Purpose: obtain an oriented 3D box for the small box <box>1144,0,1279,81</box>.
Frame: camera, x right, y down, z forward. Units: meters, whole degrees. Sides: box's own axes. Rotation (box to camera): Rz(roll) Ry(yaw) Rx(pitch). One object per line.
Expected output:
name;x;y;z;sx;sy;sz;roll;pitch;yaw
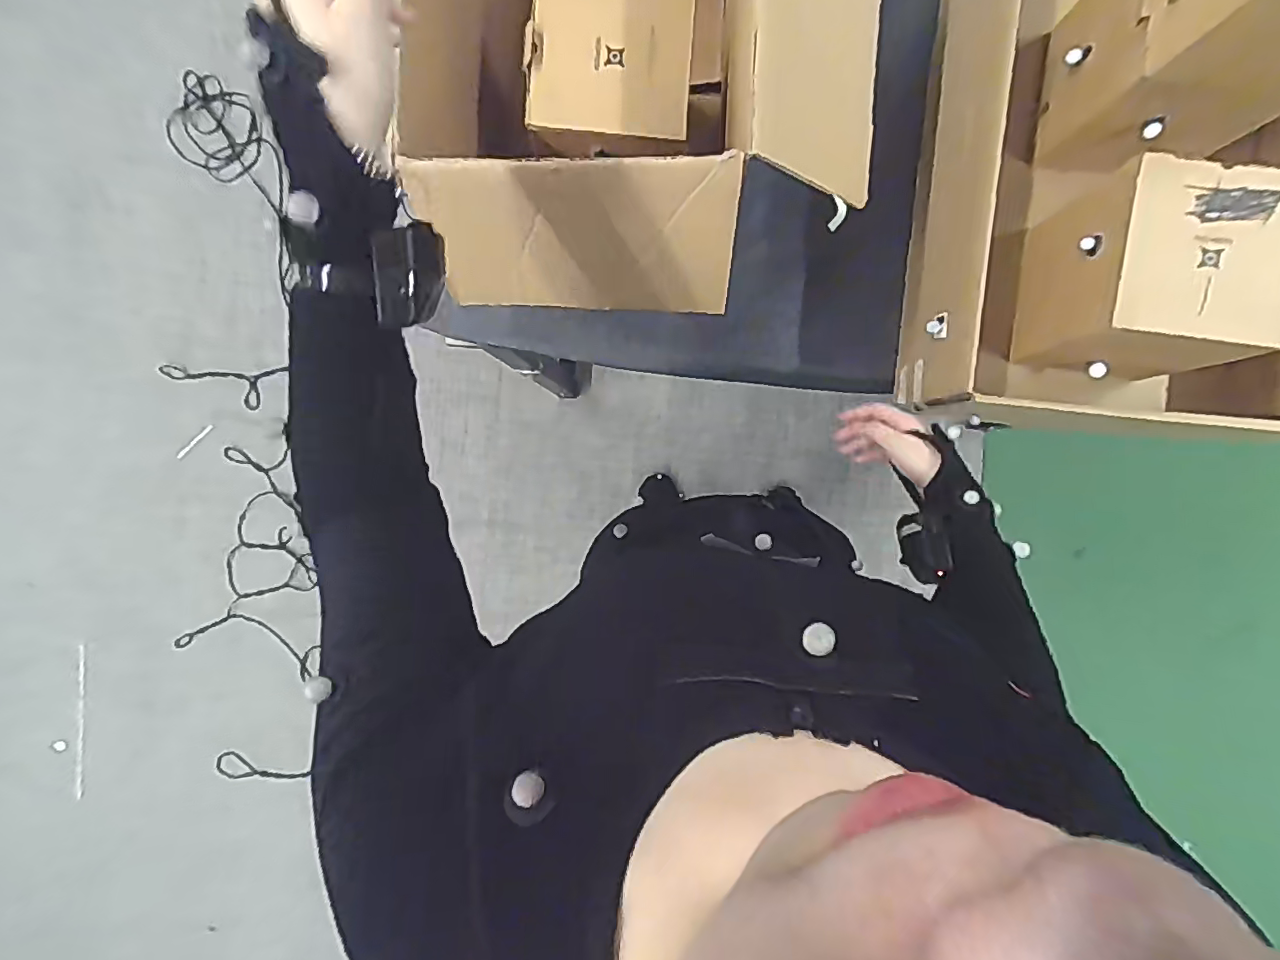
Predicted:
small box;0.571;-0.462;0.437;0.179;0.176;0.168;5;94;2
